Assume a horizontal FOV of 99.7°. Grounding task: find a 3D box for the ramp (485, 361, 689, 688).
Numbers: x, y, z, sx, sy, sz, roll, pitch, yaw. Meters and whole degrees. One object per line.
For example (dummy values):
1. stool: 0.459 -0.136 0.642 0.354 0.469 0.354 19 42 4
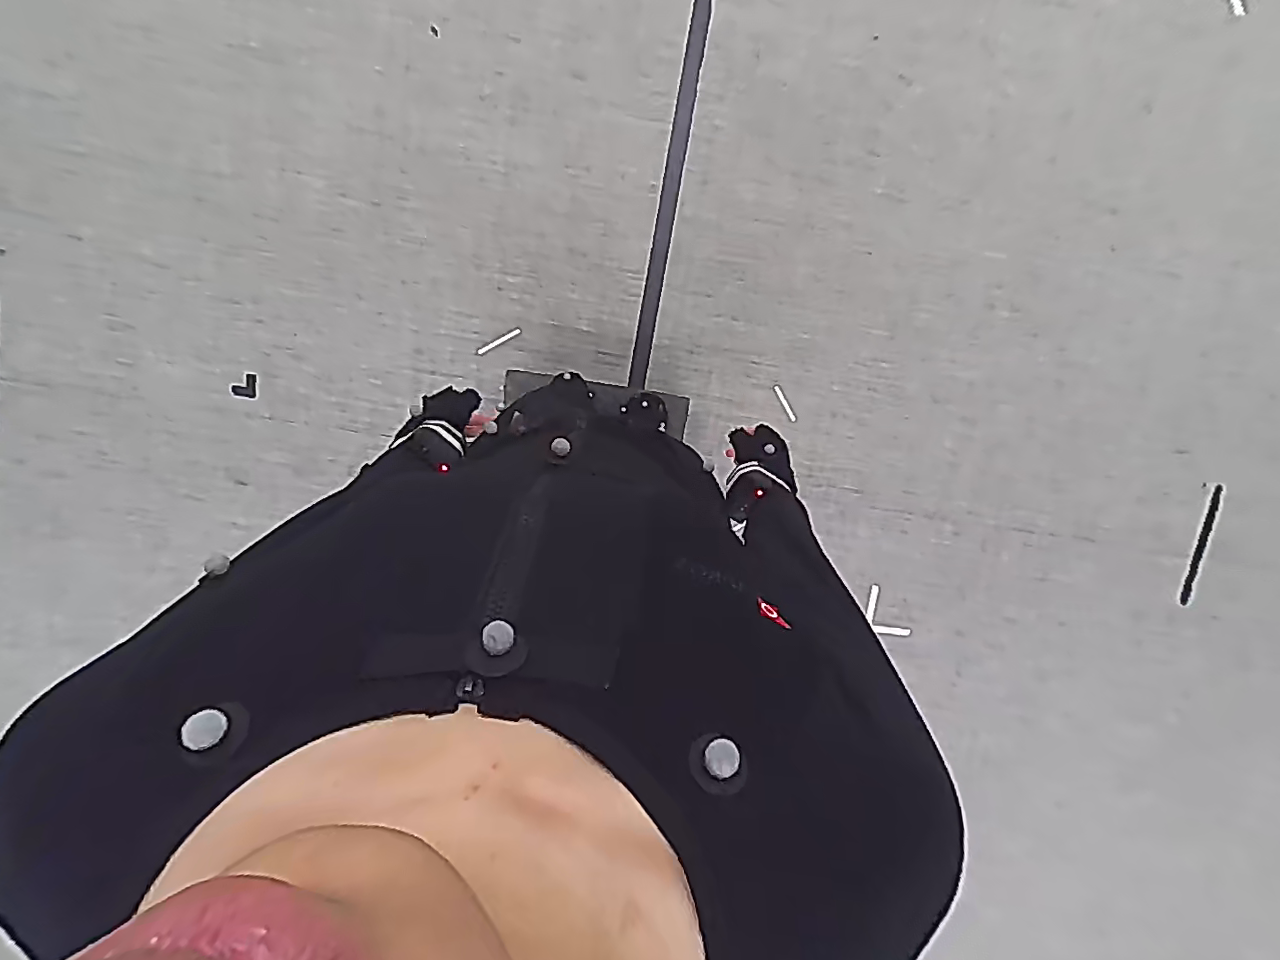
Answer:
1. ramp: -0.181 0.184 1.582 0.509 0.206 0.991 7 100 -3
